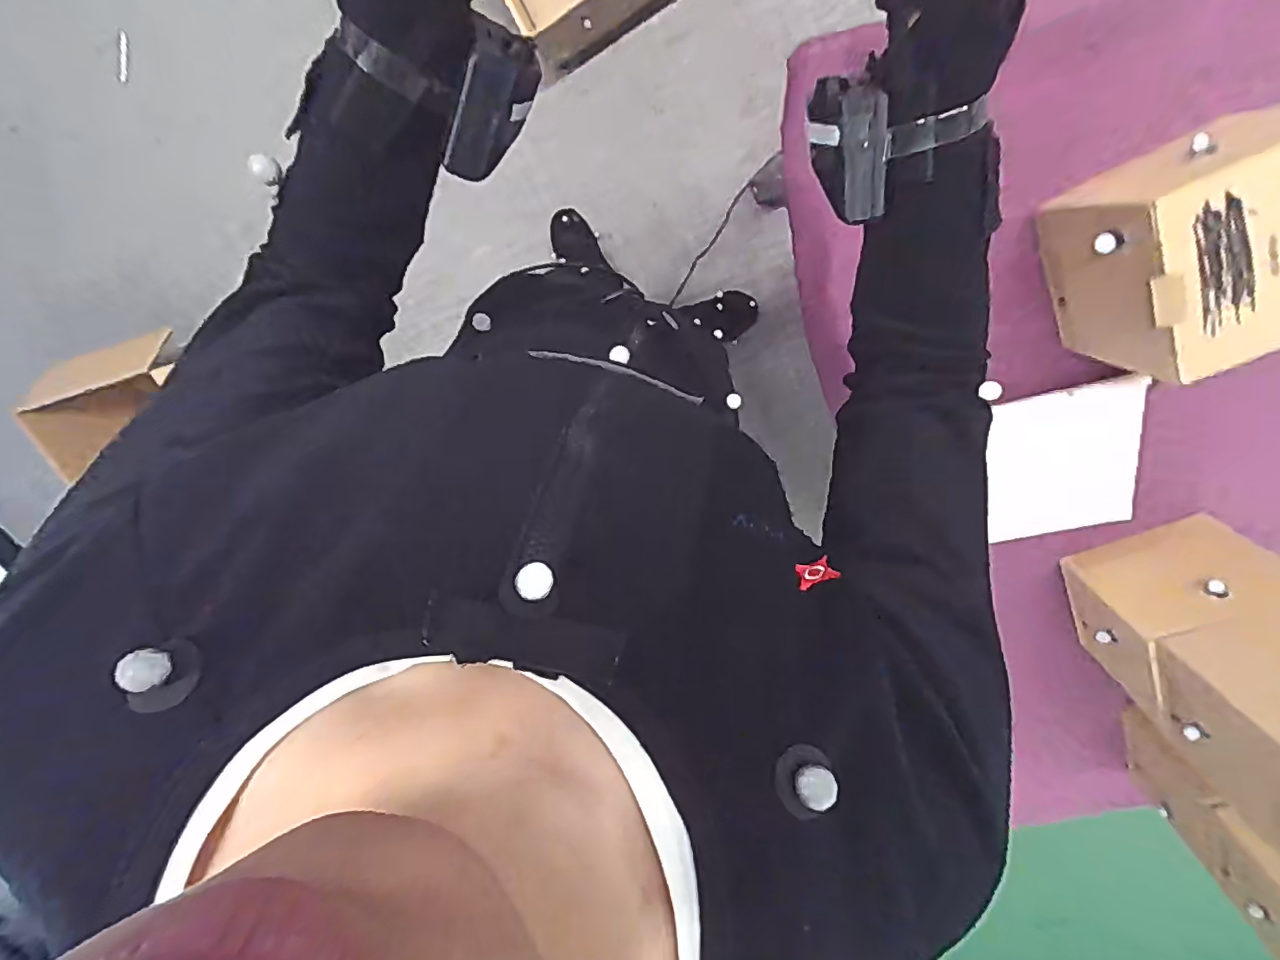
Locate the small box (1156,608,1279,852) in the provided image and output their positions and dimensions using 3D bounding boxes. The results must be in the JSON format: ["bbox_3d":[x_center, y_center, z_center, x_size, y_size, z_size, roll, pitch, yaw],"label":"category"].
[{"bbox_3d":[0.674,0.241,0.534,0.179,0.176,0.168,-20,112,14],"label":"small box"}]

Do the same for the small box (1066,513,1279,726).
[{"bbox_3d":[0.681,0.170,0.683,0.179,0.176,0.168,-23,111,15],"label":"small box"}]

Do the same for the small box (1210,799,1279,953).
[{"bbox_3d":[0.835,0.487,0.637,0.179,0.176,0.168,-20,113,15],"label":"small box"}]

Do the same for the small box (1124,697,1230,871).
[{"bbox_3d":[0.852,0.421,0.786,0.179,0.176,0.168,-20,112,14],"label":"small box"}]
